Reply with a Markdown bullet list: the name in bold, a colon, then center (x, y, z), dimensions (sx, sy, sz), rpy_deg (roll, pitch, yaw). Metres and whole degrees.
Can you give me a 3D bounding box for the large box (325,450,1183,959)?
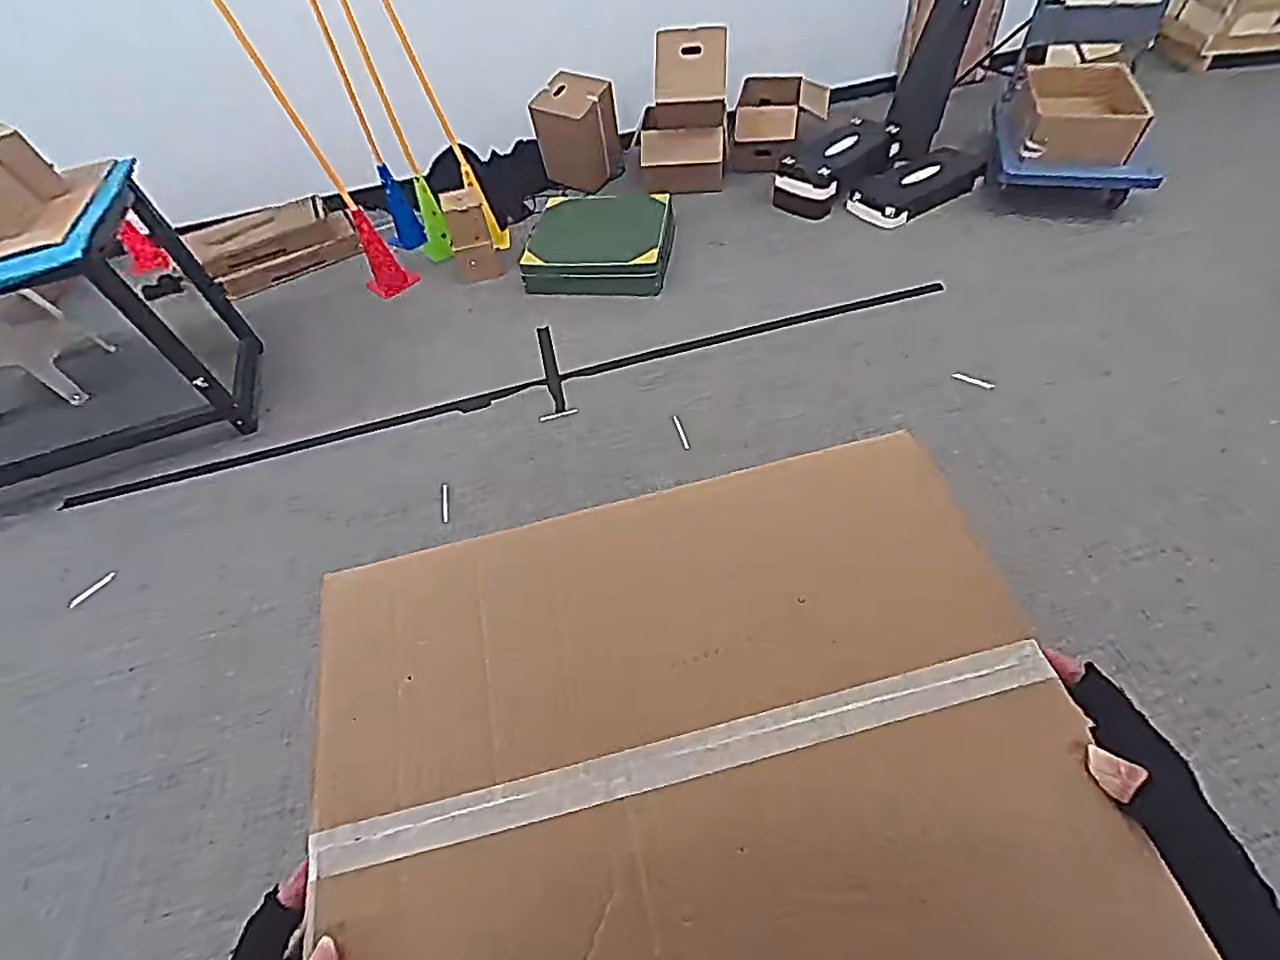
- **large box**: center (0.039, 0.225, 0.431), dimensions (0.408, 0.320, 0.320), rpy_deg (-14, 61, -2)
